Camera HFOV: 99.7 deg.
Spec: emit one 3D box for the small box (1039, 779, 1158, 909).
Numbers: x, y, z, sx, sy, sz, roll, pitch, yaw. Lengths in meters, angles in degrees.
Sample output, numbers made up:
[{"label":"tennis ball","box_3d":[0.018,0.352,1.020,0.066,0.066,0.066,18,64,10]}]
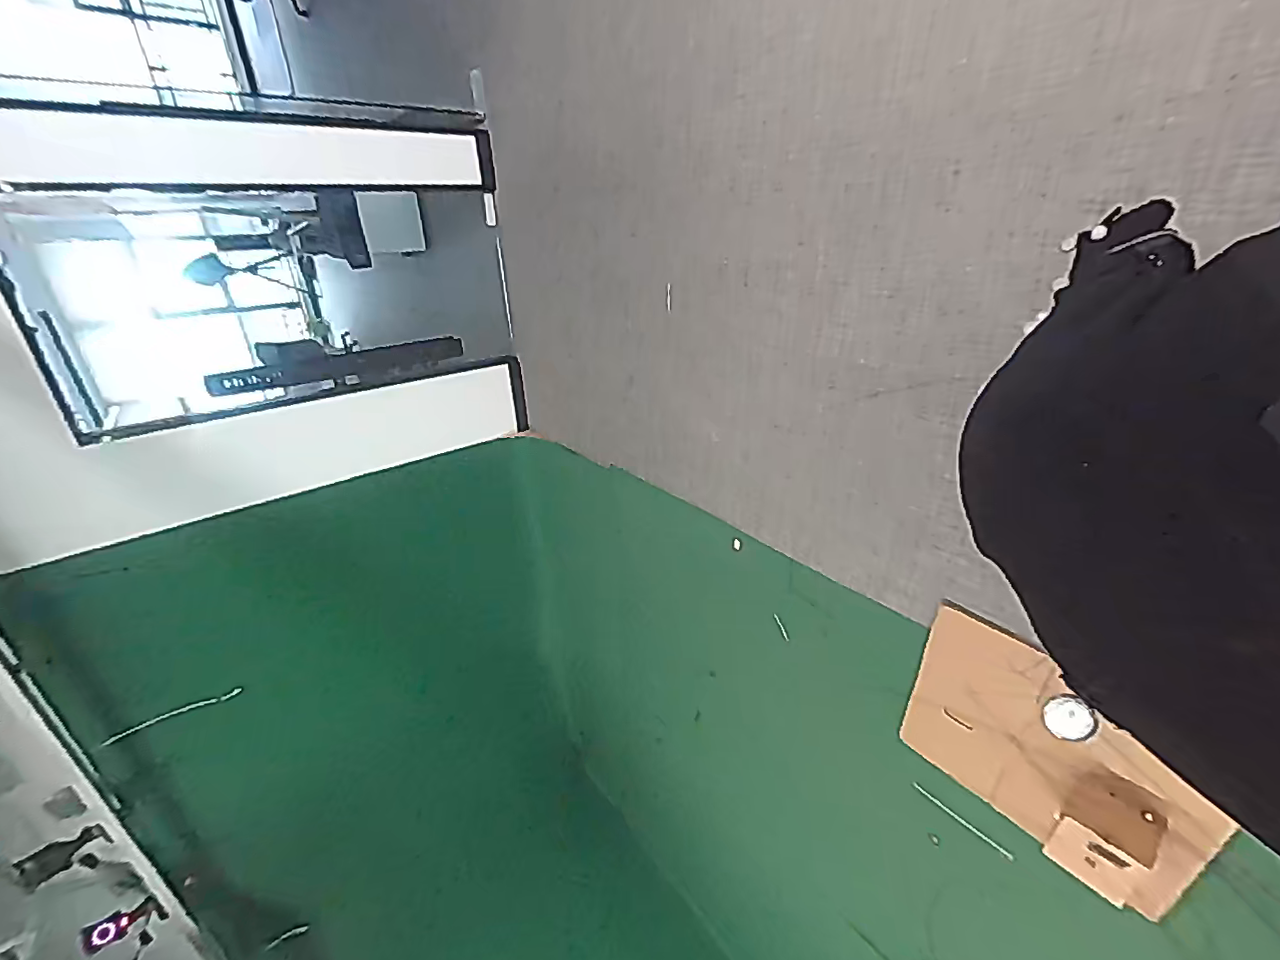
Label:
[{"label":"small box","box_3d":[1.144,0.896,1.346,0.168,0.176,0.179,30,131,43]}]
